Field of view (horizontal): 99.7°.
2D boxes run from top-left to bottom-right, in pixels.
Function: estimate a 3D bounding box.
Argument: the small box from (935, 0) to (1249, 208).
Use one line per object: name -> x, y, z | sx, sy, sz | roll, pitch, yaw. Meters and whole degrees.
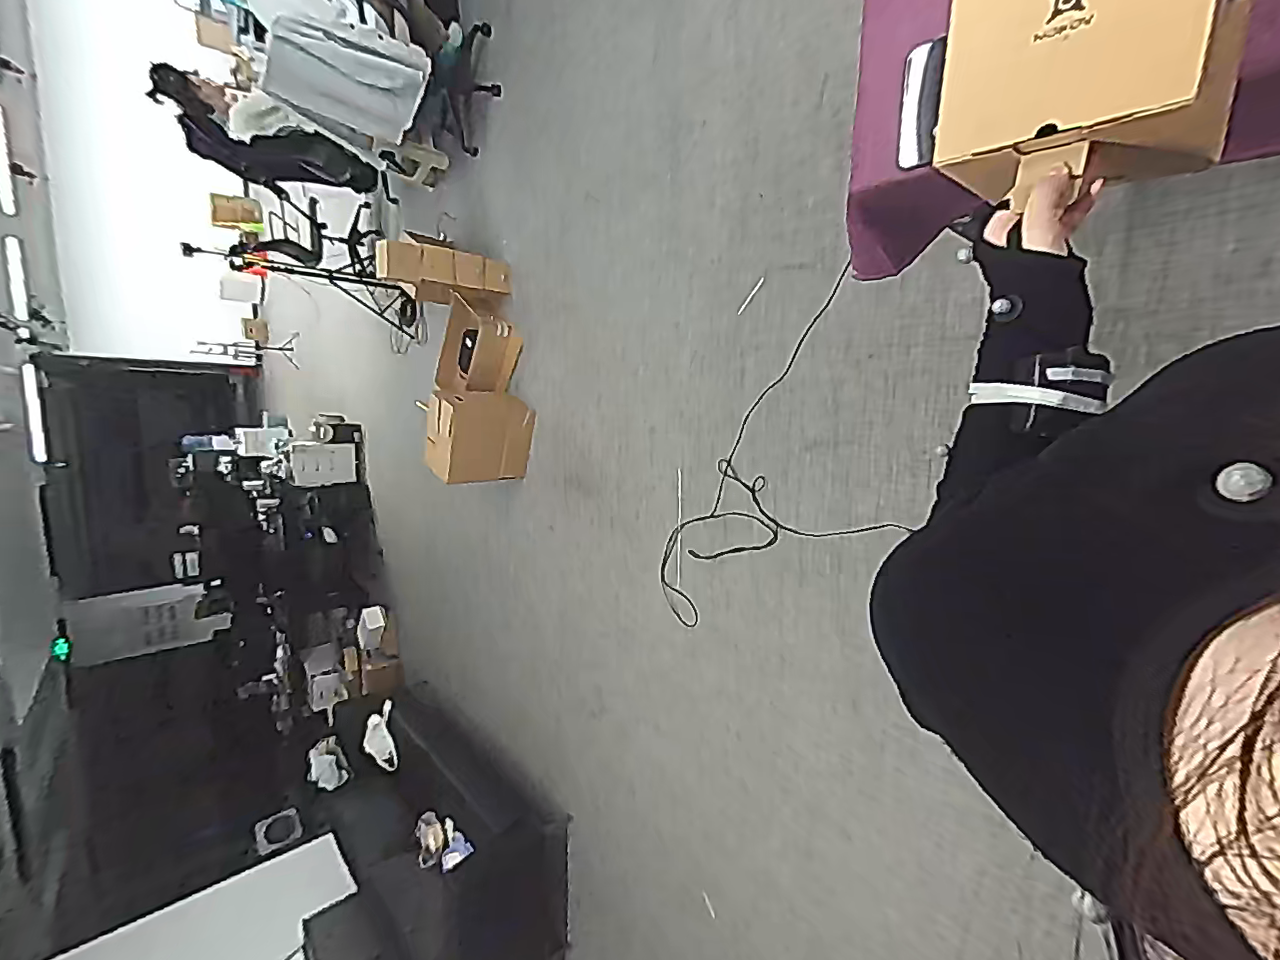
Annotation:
small box -> 0.375, -0.350, 0.451 | 0.168, 0.176, 0.179 | 14, 108, 47
